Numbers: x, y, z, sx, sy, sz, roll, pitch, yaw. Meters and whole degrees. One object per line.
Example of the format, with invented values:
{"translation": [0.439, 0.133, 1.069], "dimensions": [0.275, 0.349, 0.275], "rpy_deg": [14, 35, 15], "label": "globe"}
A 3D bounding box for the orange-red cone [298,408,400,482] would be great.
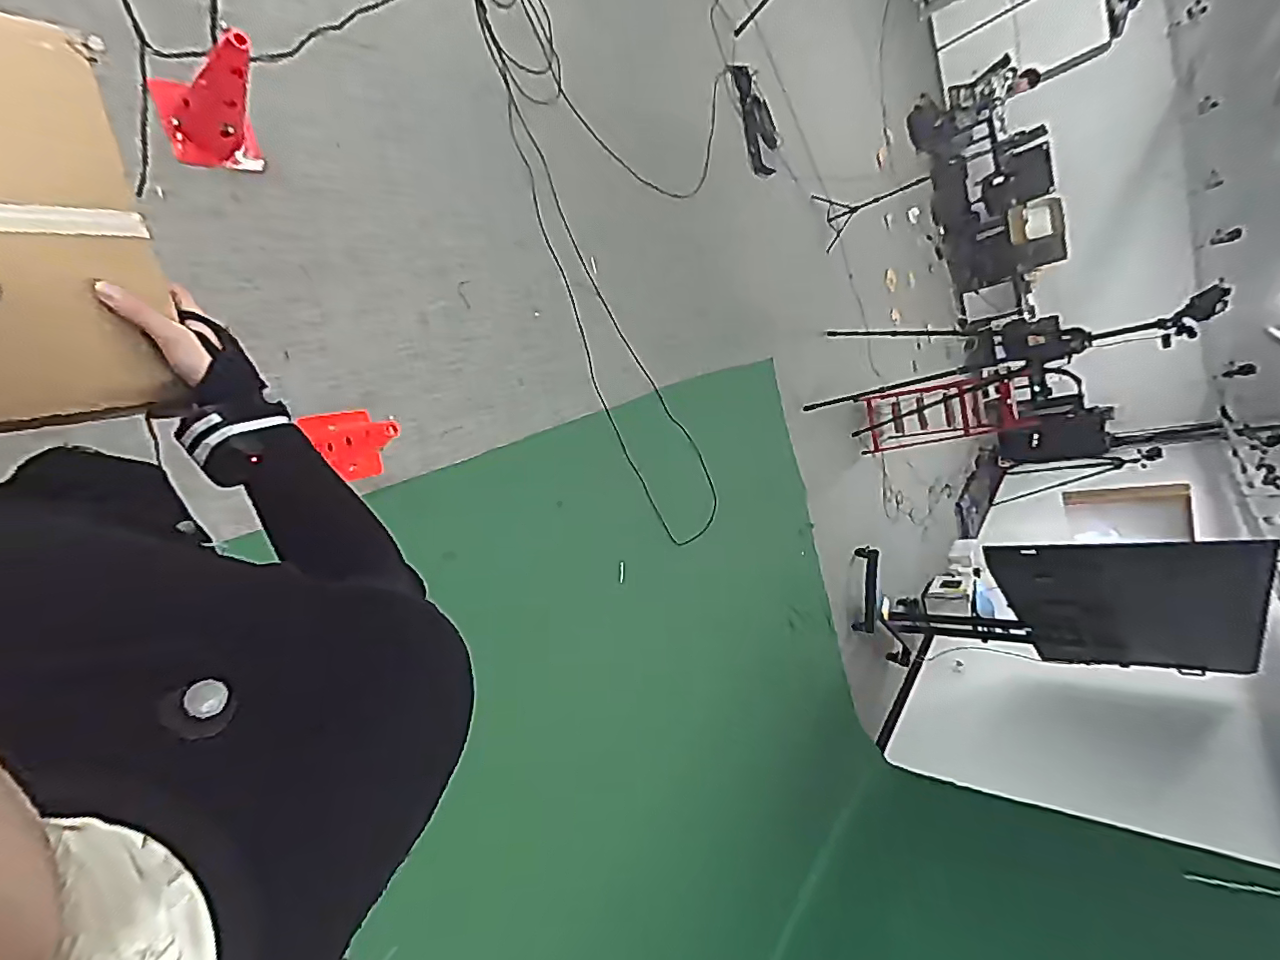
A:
{"translation": [-0.738, -0.117, 1.449], "dimensions": [0.199, 0.360, 0.198], "rpy_deg": [-18, 99, -48], "label": "orange-red cone"}

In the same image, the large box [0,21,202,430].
{"translation": [-0.698, -0.186, 0.465], "dimensions": [0.408, 0.320, 0.320], "rpy_deg": [-22, 109, -45], "label": "large box"}
